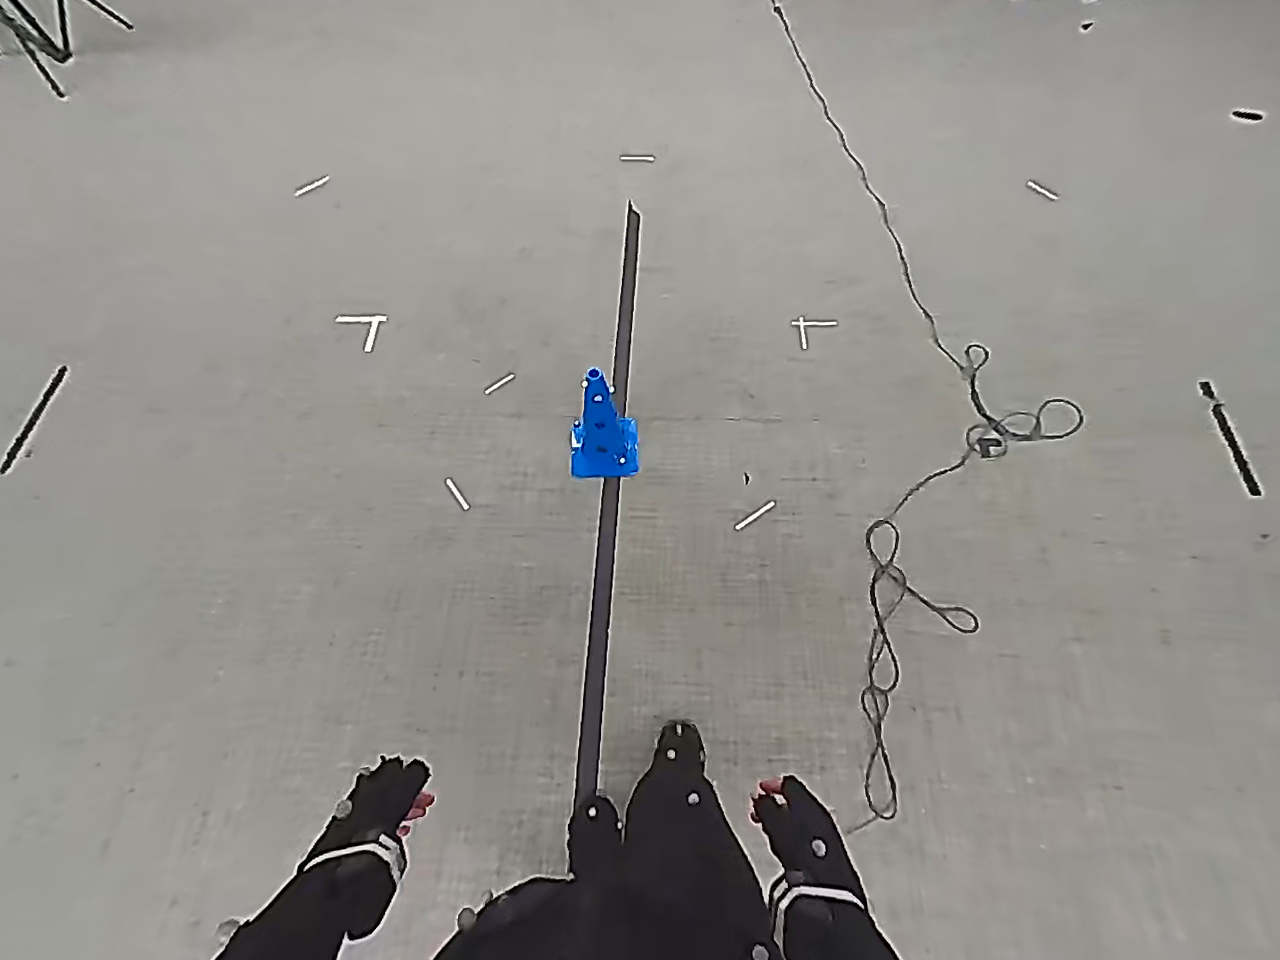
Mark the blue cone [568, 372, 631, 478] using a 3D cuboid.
[{"bbox_3d":[-0.126,-0.169,1.486,0.192,0.380,0.193,-1,63,1],"label":"blue cone"}]
